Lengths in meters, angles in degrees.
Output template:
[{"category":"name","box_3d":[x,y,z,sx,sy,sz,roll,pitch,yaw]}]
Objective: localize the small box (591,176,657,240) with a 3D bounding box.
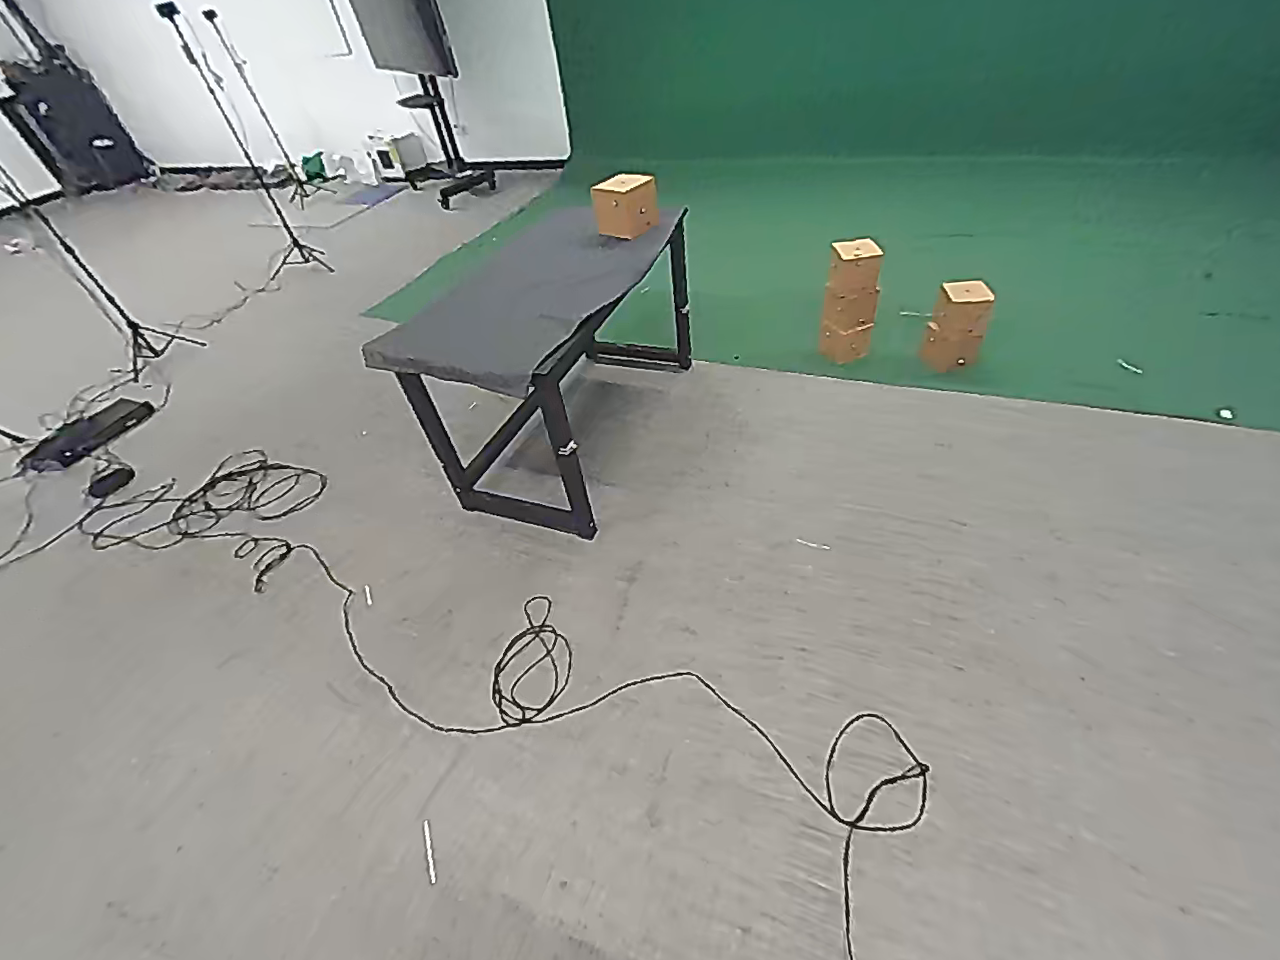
[{"category":"small box","box_3d":[-0.053,-1.024,2.040,0.179,0.176,0.168,27,55,35]}]

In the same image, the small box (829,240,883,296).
[{"category":"small box","box_3d":[0.931,-0.920,2.347,0.168,0.176,0.179,-7,44,3]}]

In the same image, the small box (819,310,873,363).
[{"category":"small box","box_3d":[0.972,-0.673,2.561,0.168,0.176,0.179,-21,45,-11]}]

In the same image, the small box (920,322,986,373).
[{"category":"small box","box_3d":[1.389,-0.607,2.418,0.168,0.176,0.179,-16,45,-6]}]

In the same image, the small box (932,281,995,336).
[{"category":"small box","box_3d":[1.376,-0.727,2.309,0.168,0.176,0.179,-1,44,8]}]
